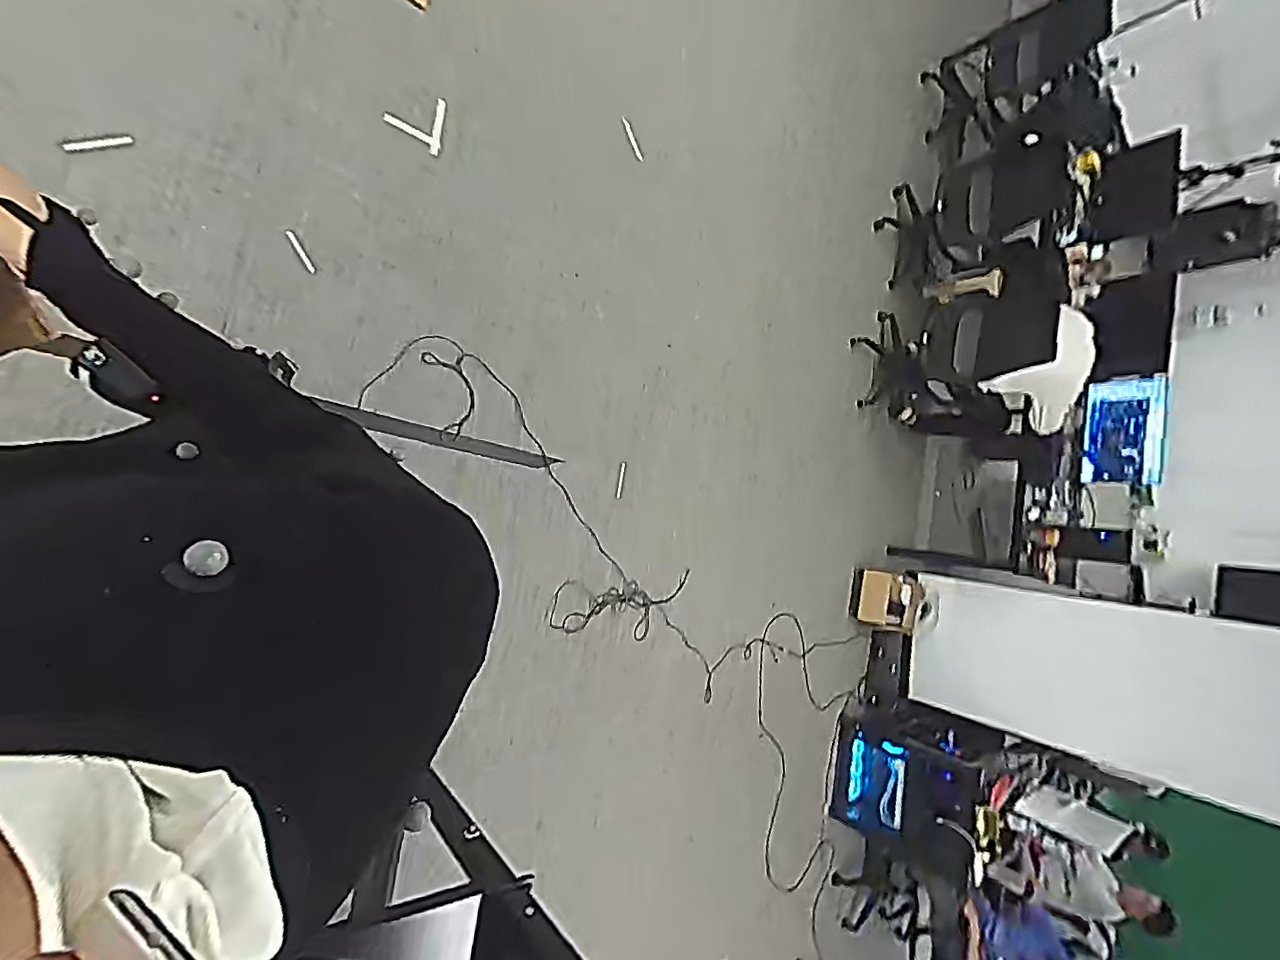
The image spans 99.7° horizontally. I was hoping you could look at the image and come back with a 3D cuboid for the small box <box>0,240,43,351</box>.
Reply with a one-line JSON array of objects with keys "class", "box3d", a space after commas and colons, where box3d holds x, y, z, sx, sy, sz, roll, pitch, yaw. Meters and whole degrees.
[{"class": "small box", "box3d": [-0.661, -0.198, 0.440, 0.168, 0.176, 0.179, 46, 54, 3]}]
